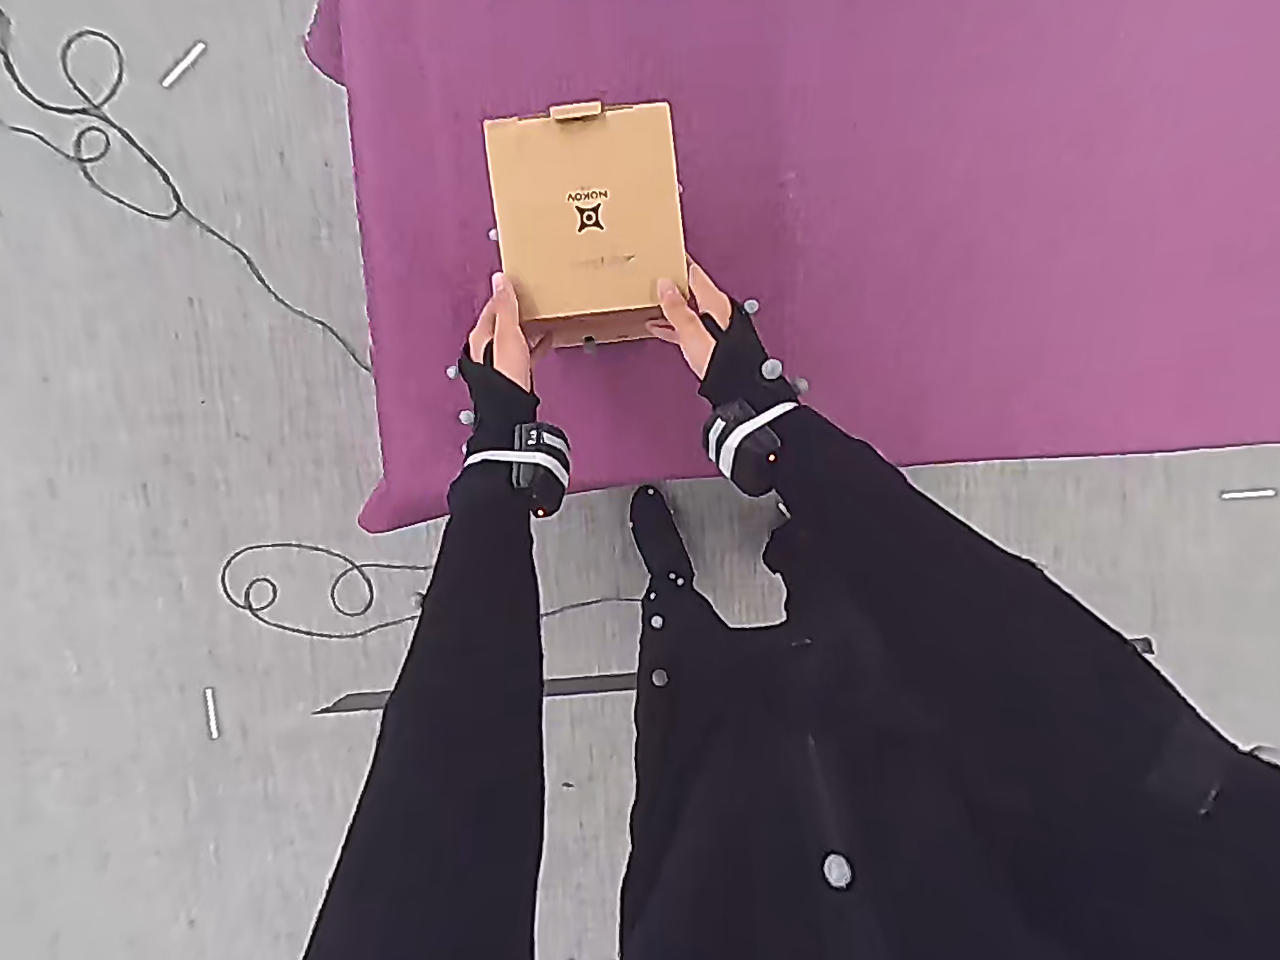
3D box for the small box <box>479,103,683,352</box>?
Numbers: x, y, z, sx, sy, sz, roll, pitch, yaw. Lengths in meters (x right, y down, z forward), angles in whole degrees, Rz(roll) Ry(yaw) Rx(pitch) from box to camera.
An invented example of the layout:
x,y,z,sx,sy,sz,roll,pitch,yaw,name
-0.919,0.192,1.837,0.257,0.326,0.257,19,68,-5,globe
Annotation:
x,y,z,sx,sy,sz,roll,pitch,yaw,name
-0.053,-0.239,0.553,0.168,0.176,0.179,-7,95,0,small box
